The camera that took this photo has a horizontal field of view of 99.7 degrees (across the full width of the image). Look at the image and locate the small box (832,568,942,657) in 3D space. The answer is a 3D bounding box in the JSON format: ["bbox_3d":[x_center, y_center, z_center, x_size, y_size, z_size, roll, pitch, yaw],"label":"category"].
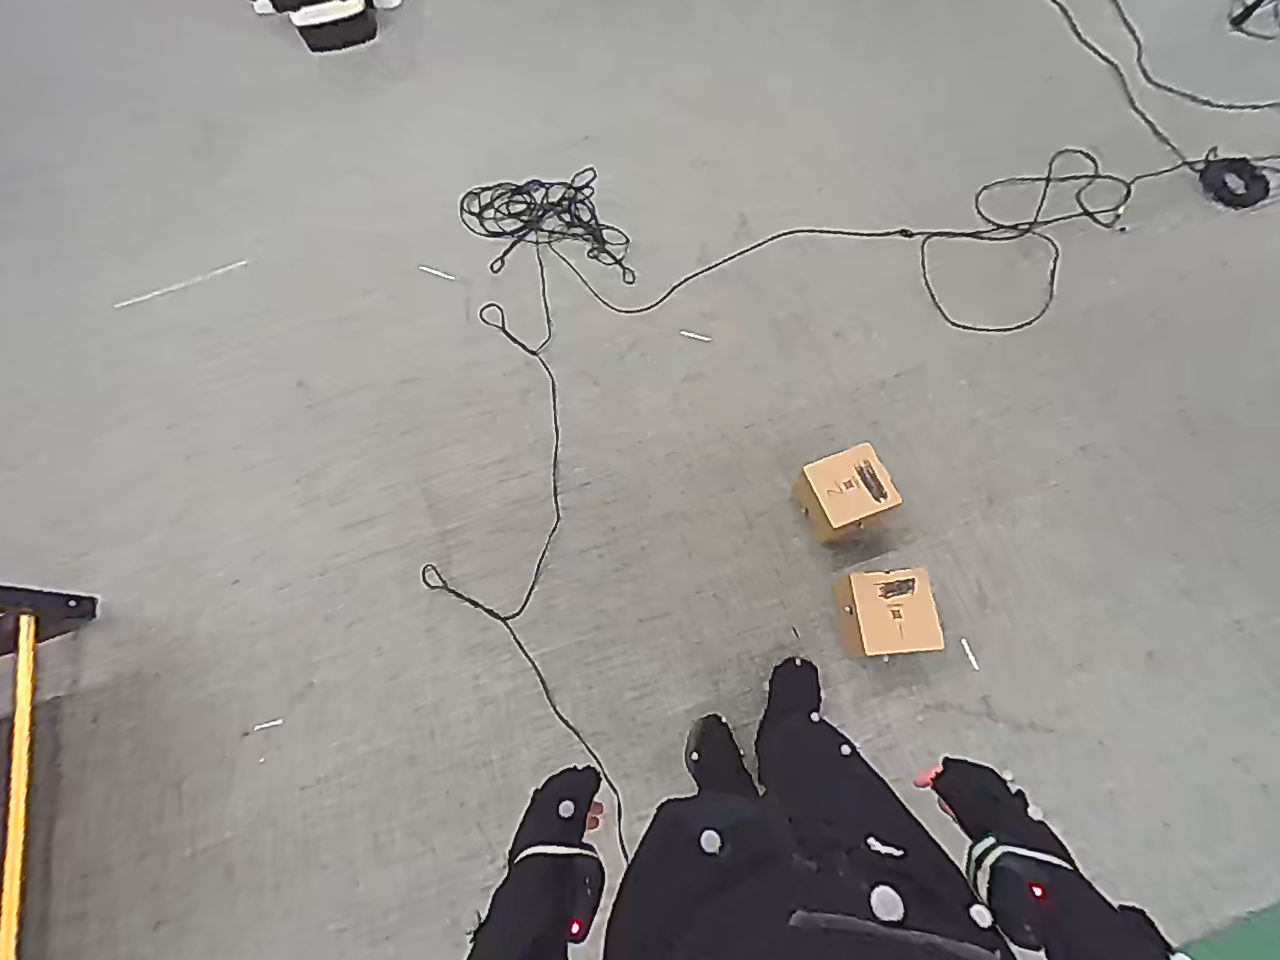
[{"bbox_3d":[0.552,0.307,1.237,0.168,0.176,0.179,-6,71,4],"label":"small box"}]
